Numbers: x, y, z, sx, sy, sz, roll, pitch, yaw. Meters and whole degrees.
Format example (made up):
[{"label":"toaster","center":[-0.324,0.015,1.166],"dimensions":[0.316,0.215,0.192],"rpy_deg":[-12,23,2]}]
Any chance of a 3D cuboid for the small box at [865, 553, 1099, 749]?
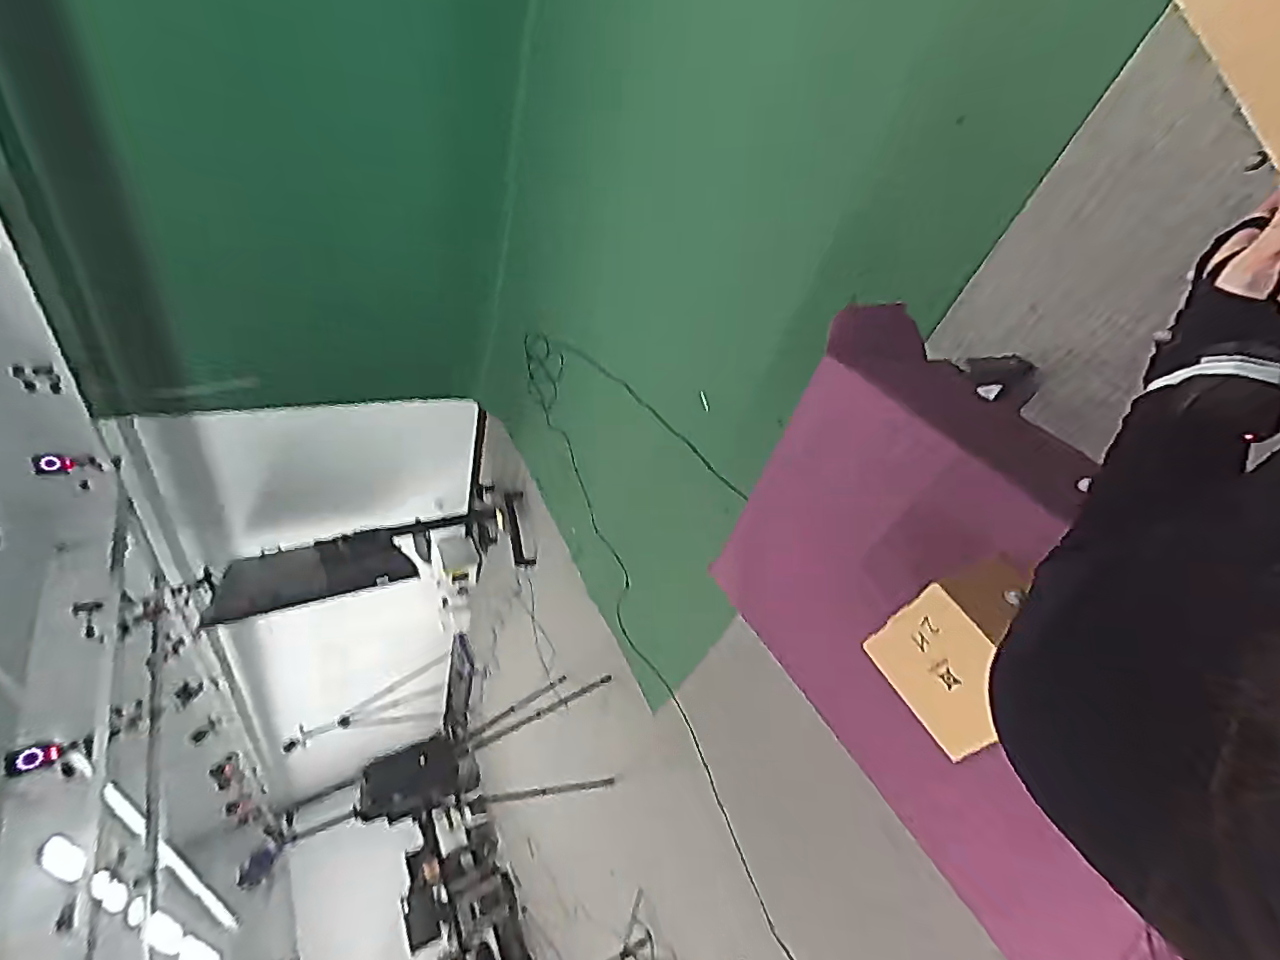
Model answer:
[{"label":"small box","center":[0.460,0.224,0.735],"dimensions":[0.179,0.176,0.168],"rpy_deg":[57,141,32]}]
